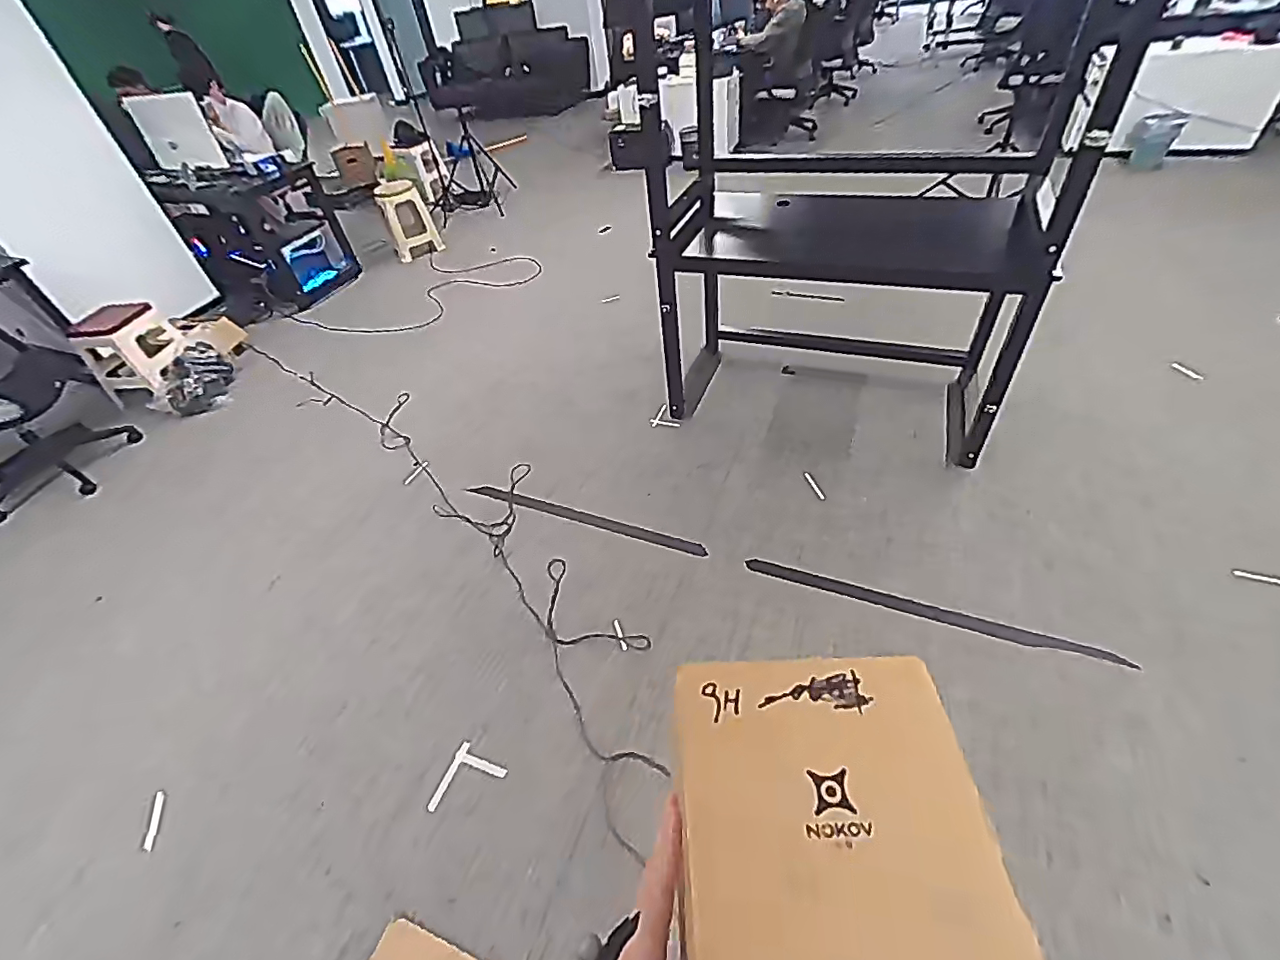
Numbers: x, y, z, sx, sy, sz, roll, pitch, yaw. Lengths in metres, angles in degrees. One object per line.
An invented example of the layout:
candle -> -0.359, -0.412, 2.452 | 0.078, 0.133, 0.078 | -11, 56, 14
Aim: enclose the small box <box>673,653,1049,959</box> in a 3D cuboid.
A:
small box -> 0.108, 0.232, 0.350 | 0.168, 0.176, 0.179 | -1, 47, 0
